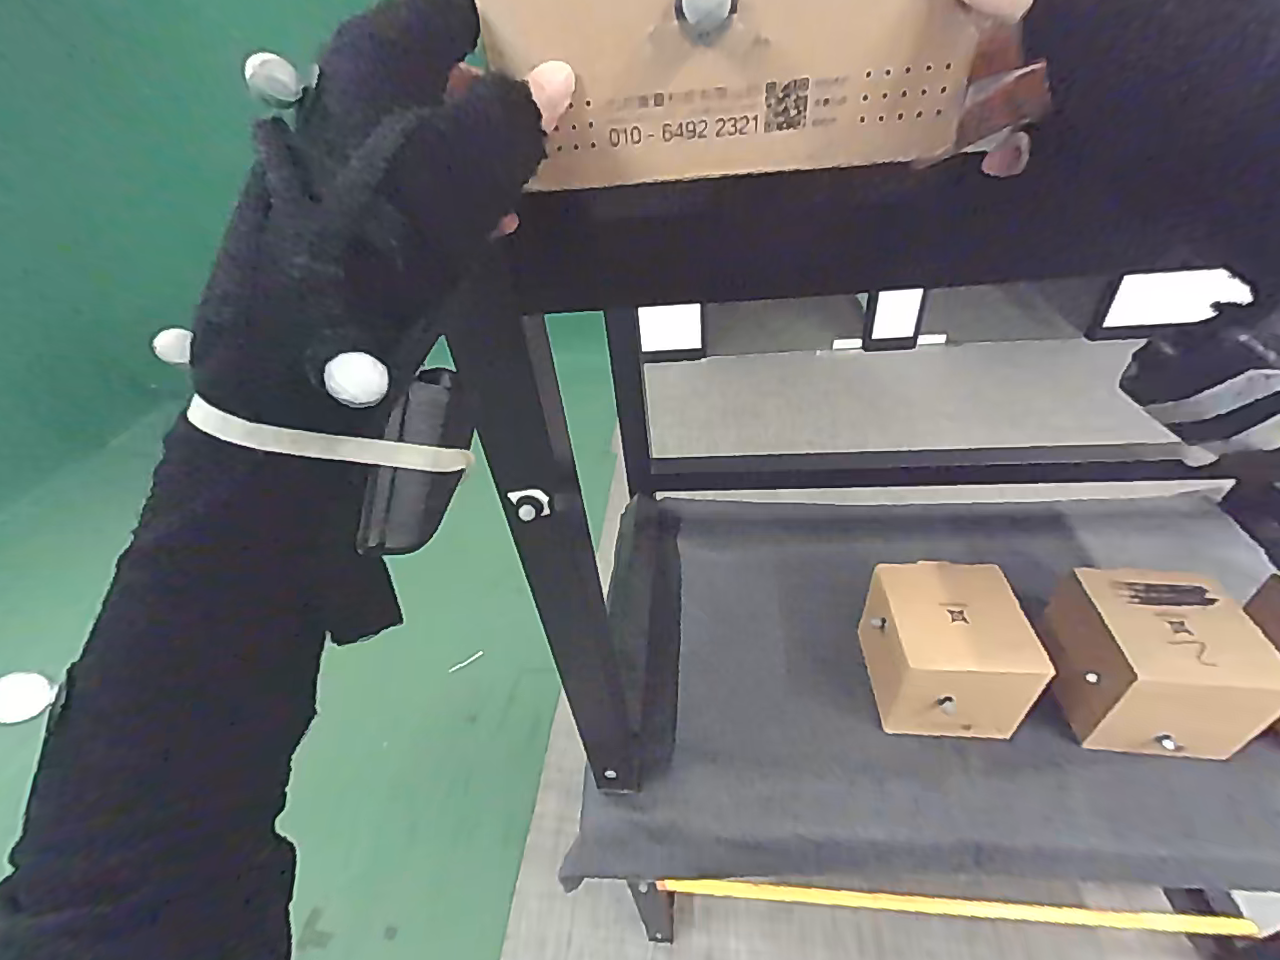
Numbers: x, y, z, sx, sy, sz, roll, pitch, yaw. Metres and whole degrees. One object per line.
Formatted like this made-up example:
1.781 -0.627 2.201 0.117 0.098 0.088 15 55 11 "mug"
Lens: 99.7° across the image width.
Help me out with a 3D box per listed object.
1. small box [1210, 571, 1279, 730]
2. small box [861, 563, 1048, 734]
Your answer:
0.912 0.235 0.686 0.168 0.176 0.179 -1 37 7 "small box"
0.426 0.238 0.768 0.168 0.176 0.179 -1 38 8 "small box"
